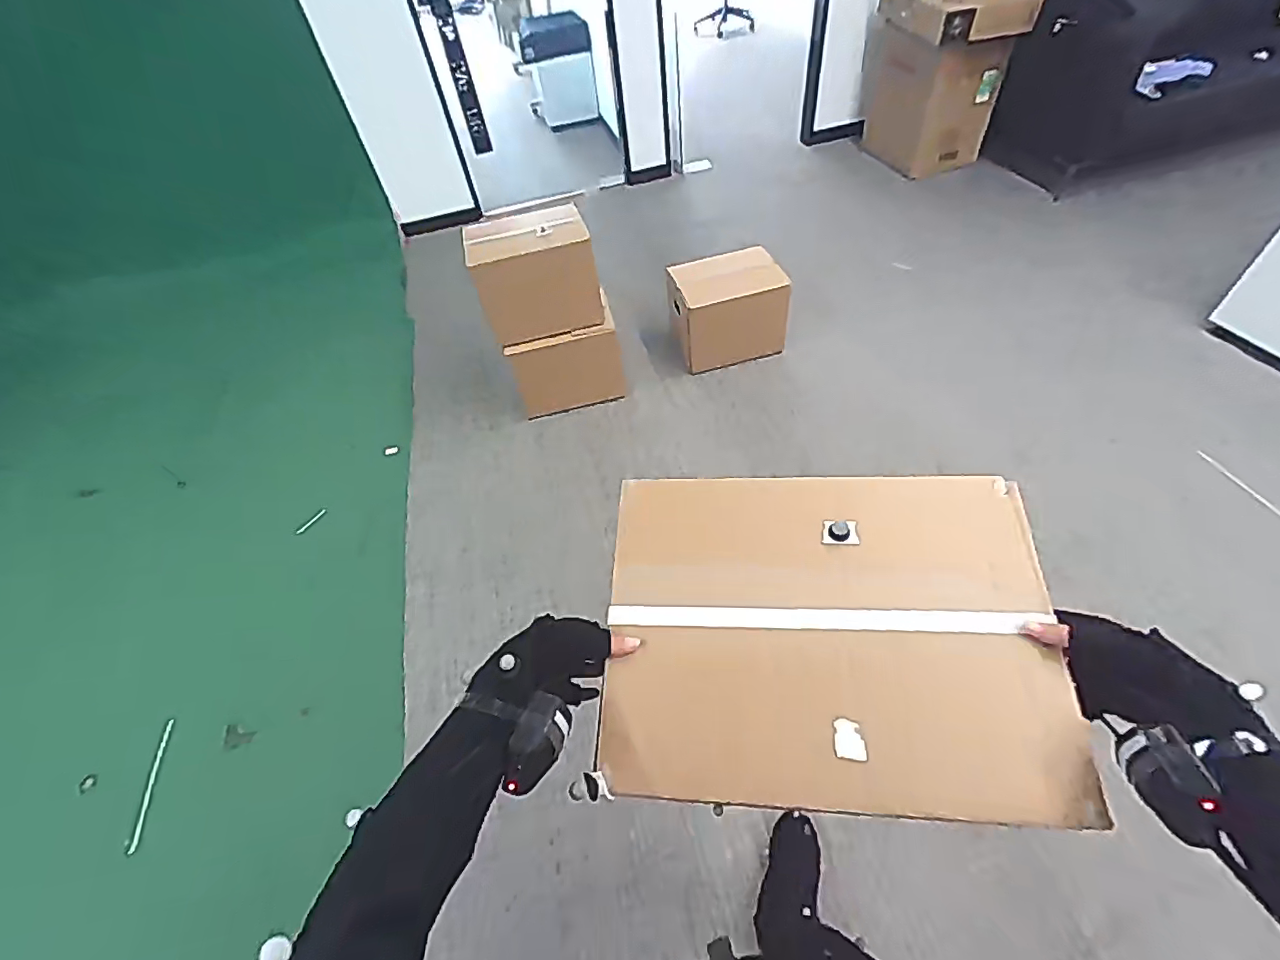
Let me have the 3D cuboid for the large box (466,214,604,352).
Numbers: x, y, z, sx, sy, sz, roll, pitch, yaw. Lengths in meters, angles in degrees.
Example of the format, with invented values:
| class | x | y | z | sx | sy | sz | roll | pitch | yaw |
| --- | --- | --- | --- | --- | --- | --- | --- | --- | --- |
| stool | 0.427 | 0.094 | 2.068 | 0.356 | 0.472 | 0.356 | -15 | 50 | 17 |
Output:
| class | x | y | z | sx | sy | sz | roll | pitch | yaw |
| --- | --- | --- | --- | --- | --- | --- | --- | --- | --- |
| large box | -0.369 | -0.697 | 1.918 | 0.408 | 0.320 | 0.320 | -14 | 47 | -5 |
